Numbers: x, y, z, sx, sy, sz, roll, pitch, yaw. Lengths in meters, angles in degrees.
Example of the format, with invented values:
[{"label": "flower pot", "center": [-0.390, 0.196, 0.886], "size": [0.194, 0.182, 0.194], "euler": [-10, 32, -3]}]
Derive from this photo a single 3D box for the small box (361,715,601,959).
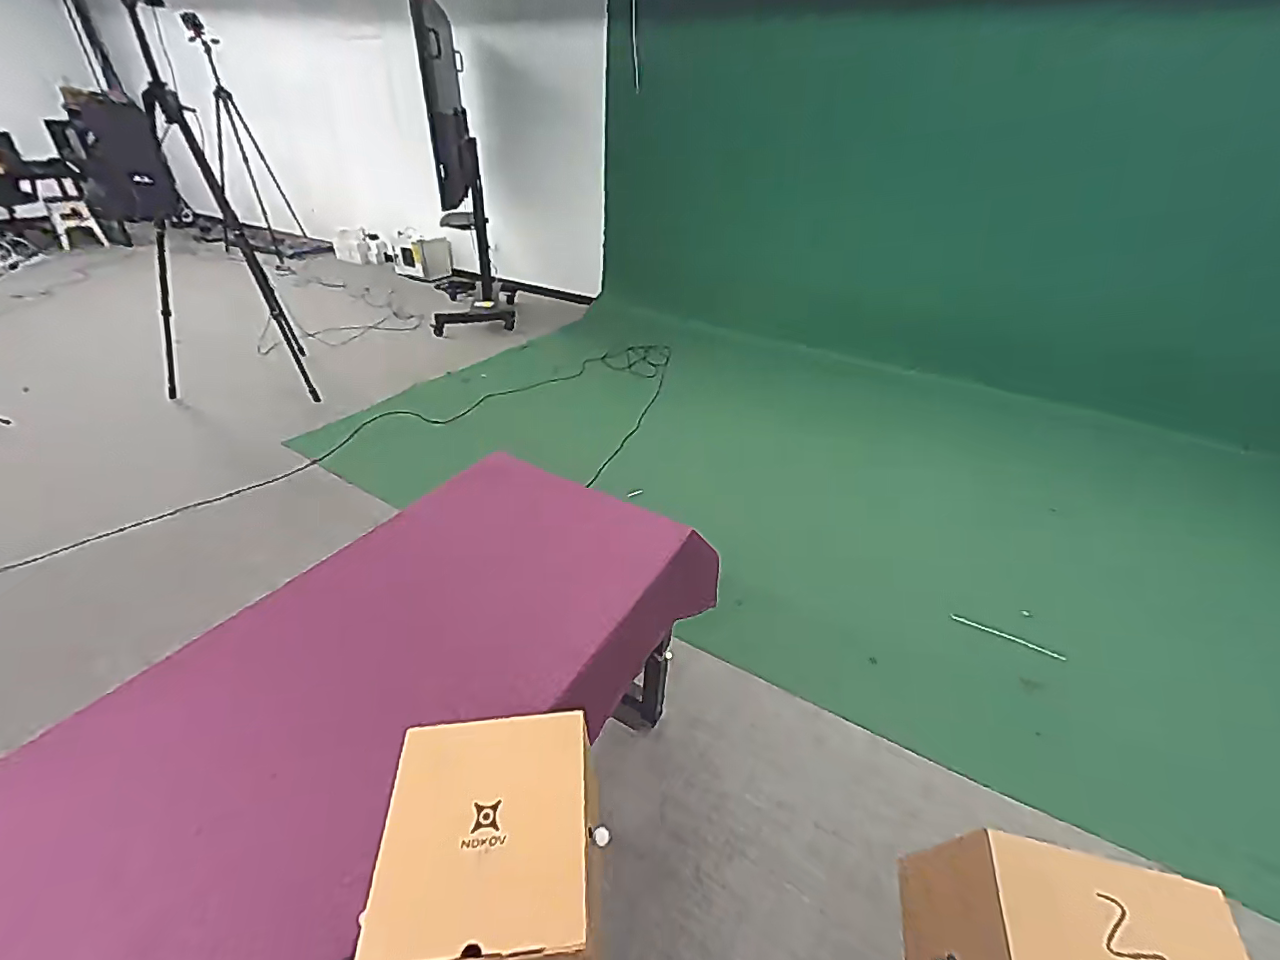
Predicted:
[{"label": "small box", "center": [-0.124, 0.347, 0.502], "size": [0.168, 0.176, 0.179], "euler": [-5, 42, -3]}]
